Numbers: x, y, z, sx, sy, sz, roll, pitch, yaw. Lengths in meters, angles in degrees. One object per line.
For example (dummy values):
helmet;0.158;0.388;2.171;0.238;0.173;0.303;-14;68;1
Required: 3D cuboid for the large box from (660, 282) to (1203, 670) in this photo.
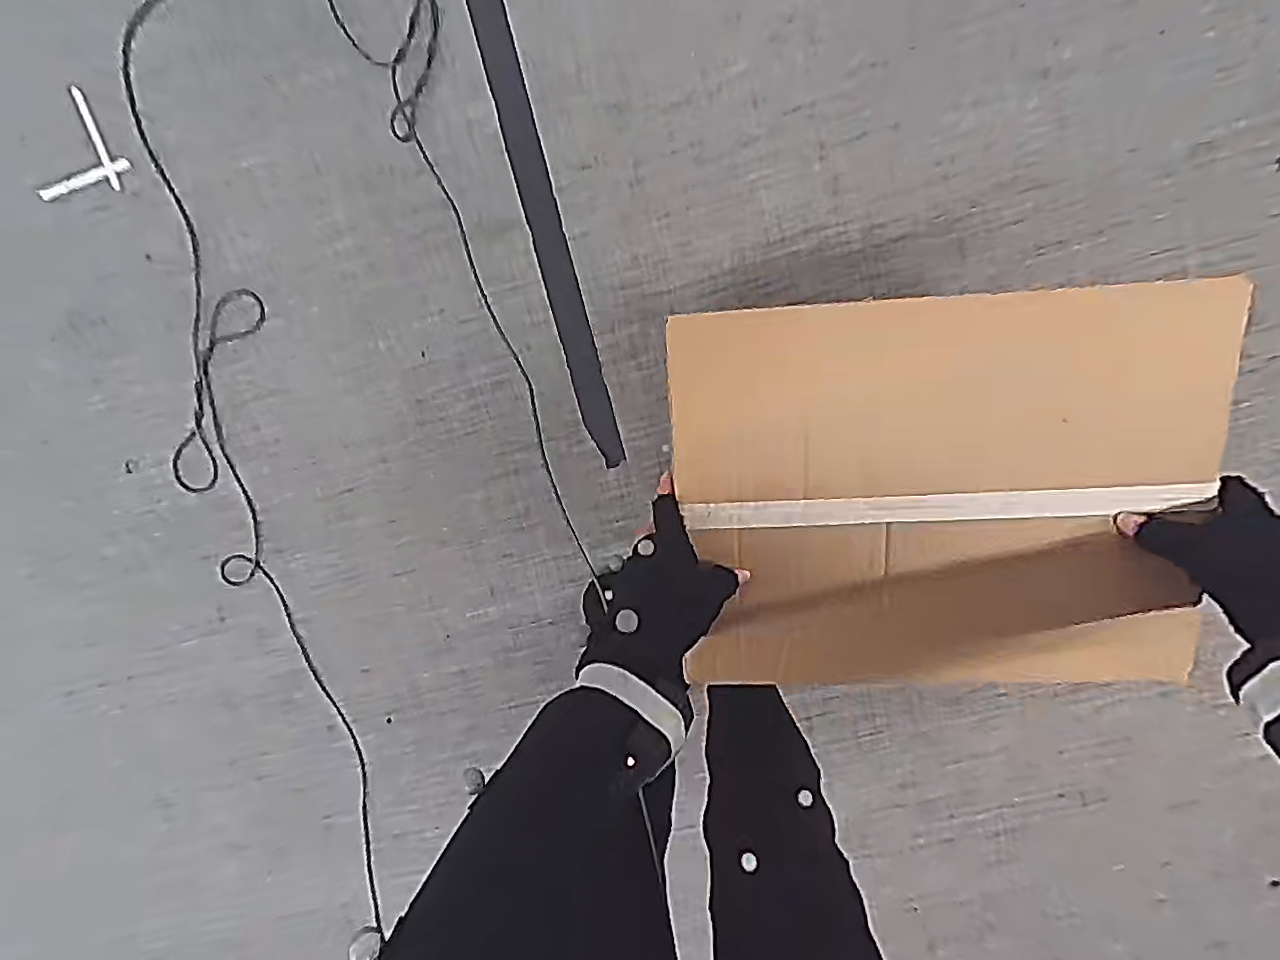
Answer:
large box;0.236;-0.018;0.587;0.408;0.320;0.320;-2;102;5
